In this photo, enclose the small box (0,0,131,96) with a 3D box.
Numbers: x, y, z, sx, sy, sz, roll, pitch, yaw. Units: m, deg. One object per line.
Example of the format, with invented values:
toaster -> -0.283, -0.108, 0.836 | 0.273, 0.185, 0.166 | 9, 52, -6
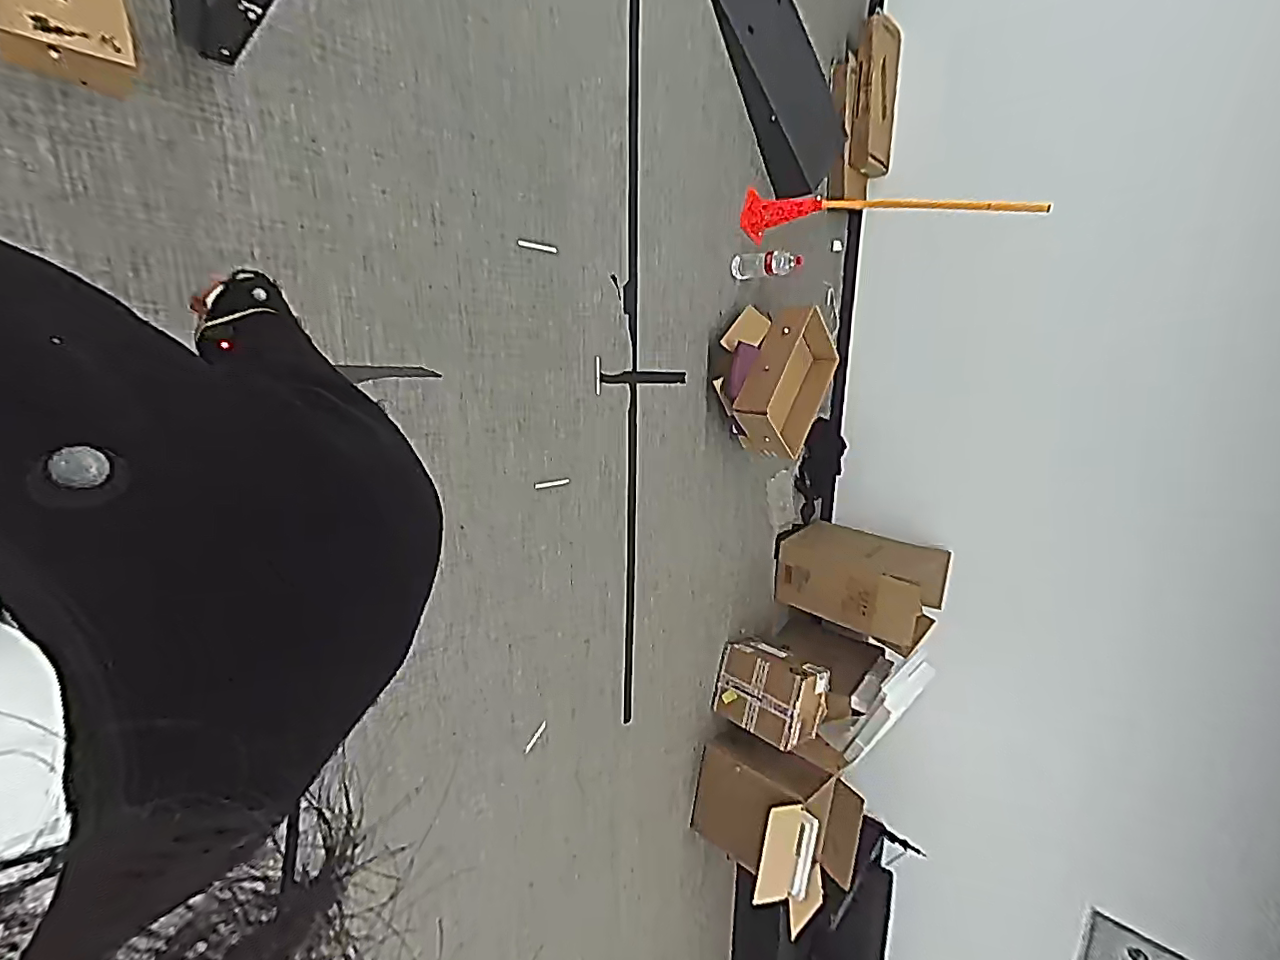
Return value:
small box -> -0.986, -0.791, 0.904 | 0.168, 0.176, 0.179 | -13, 108, -45
